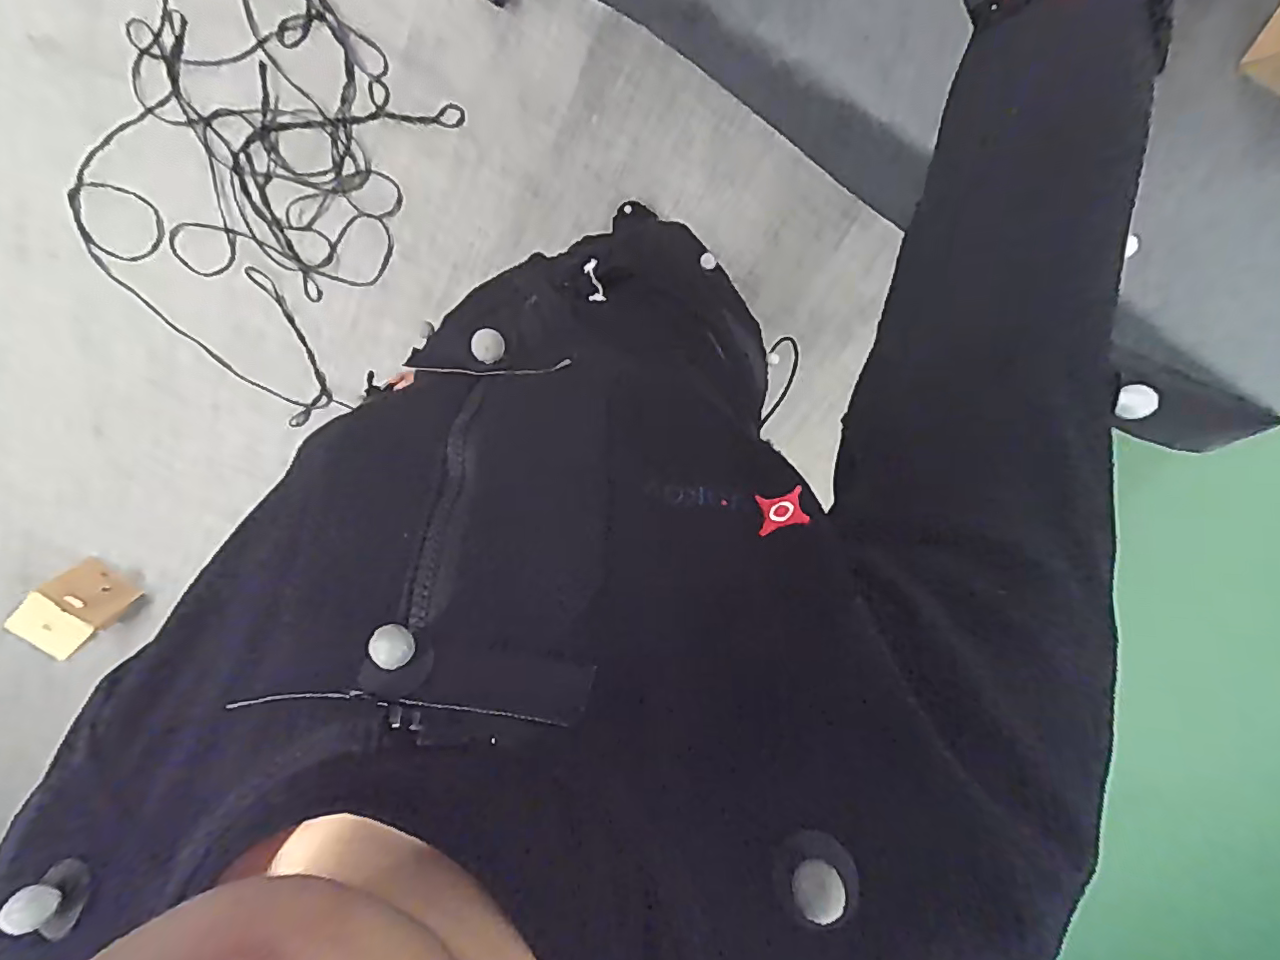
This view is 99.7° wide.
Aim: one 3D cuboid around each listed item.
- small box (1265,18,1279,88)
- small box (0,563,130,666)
[{"bbox_3d":[0.613,-0.355,0.367,0.168,0.176,0.179,20,111,-10],"label":"small box"},{"bbox_3d":[-1.574,0.365,1.481,0.179,0.176,0.168,-38,108,15],"label":"small box"}]
